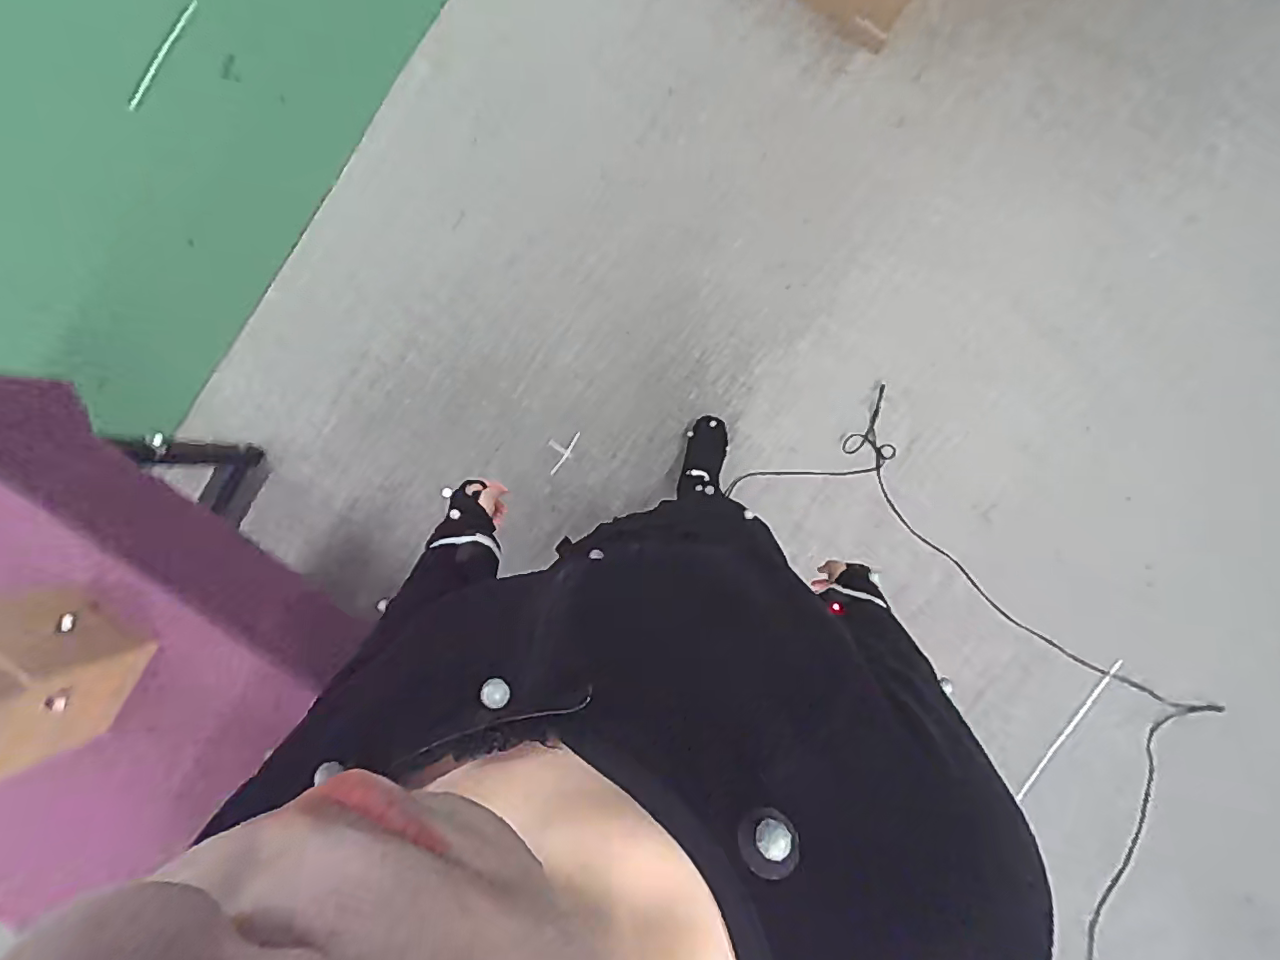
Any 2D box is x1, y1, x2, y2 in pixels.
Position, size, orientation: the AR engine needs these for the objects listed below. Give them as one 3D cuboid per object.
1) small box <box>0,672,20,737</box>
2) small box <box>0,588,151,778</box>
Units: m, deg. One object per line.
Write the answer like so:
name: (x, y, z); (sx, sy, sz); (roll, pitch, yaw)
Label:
small box: (-0.870, 0.280, 0.597); (0.168, 0.176, 0.179); (35, 94, 4)
small box: (-0.854, 0.275, 0.759); (0.168, 0.176, 0.179); (33, 93, 4)
